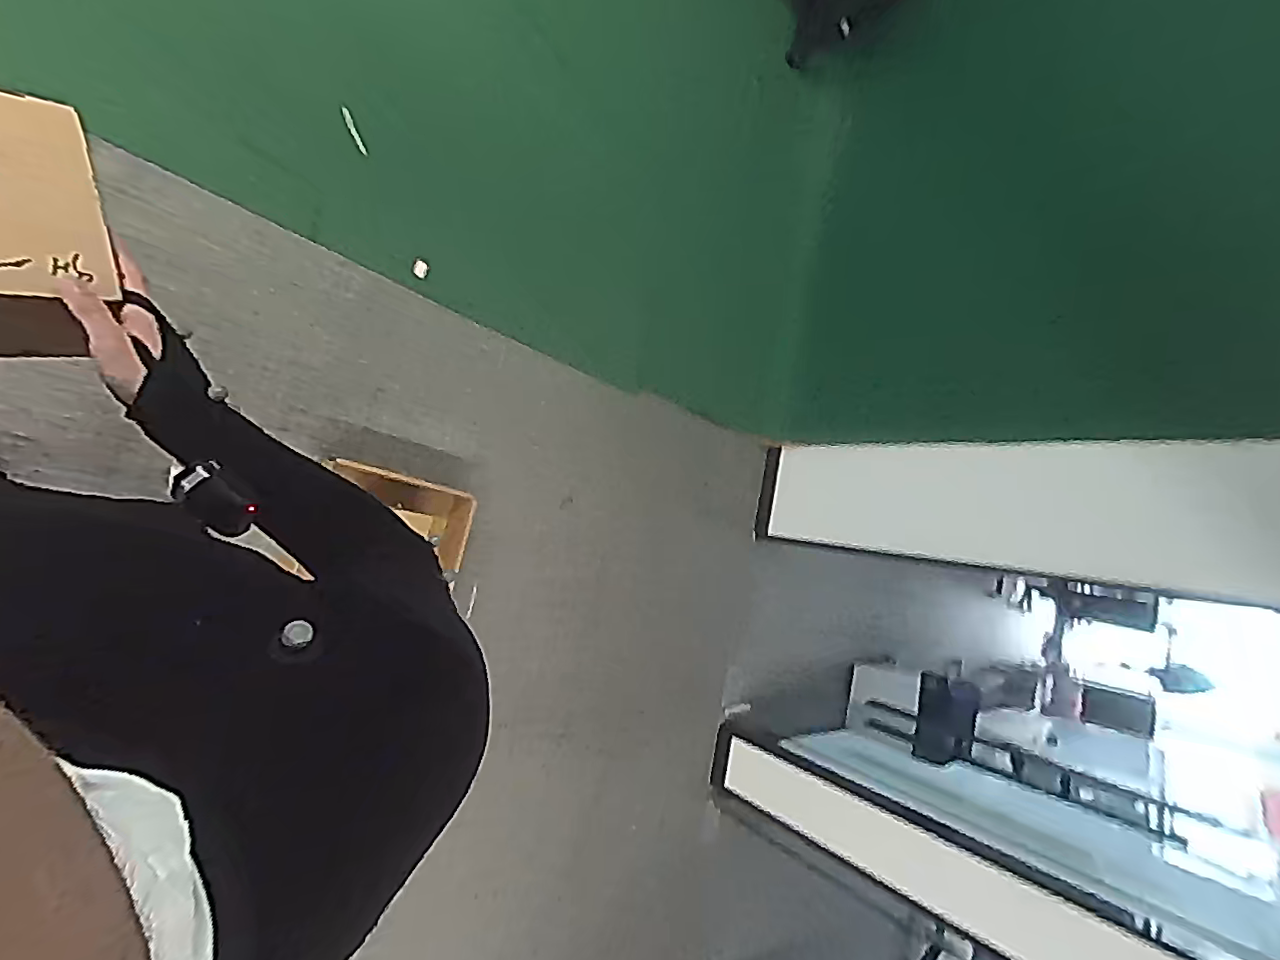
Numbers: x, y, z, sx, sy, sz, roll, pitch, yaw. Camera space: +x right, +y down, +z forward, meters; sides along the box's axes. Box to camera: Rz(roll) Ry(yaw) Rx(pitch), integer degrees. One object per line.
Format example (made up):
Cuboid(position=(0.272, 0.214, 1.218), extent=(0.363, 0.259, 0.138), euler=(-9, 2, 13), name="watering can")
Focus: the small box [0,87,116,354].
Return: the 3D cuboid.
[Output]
Cuboid(position=(-0.588, -0.218, 0.463), extent=(0.168, 0.176, 0.179), euler=(-15, 95, -48), name="small box")
